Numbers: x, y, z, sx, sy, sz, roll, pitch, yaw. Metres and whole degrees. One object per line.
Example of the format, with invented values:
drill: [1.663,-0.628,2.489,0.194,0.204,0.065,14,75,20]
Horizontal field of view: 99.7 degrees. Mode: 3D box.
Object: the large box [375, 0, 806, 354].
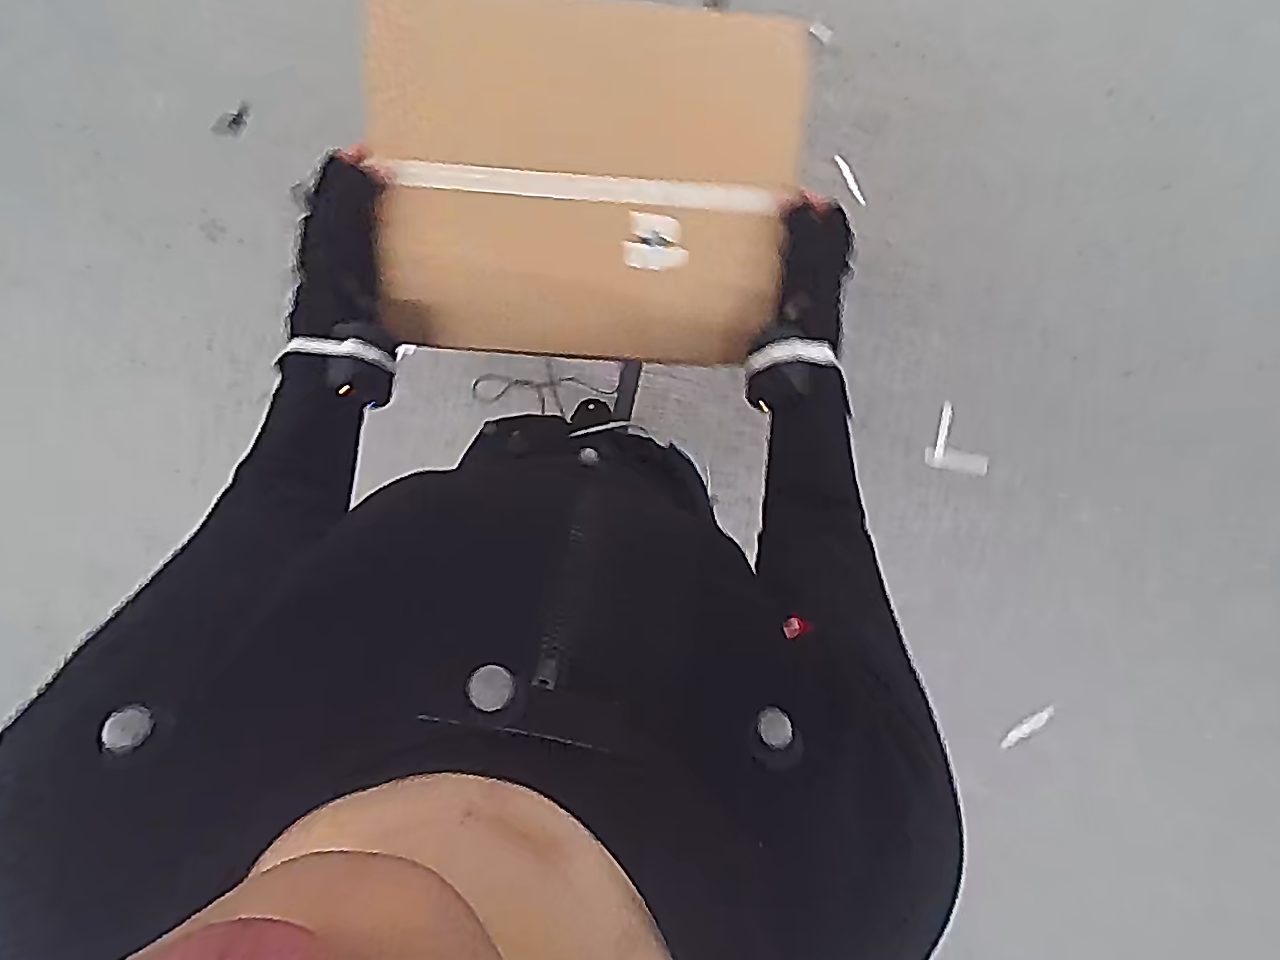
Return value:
large box: [-0.059,-0.324,0.673,0.408,0.320,0.320,3,104,-5]
